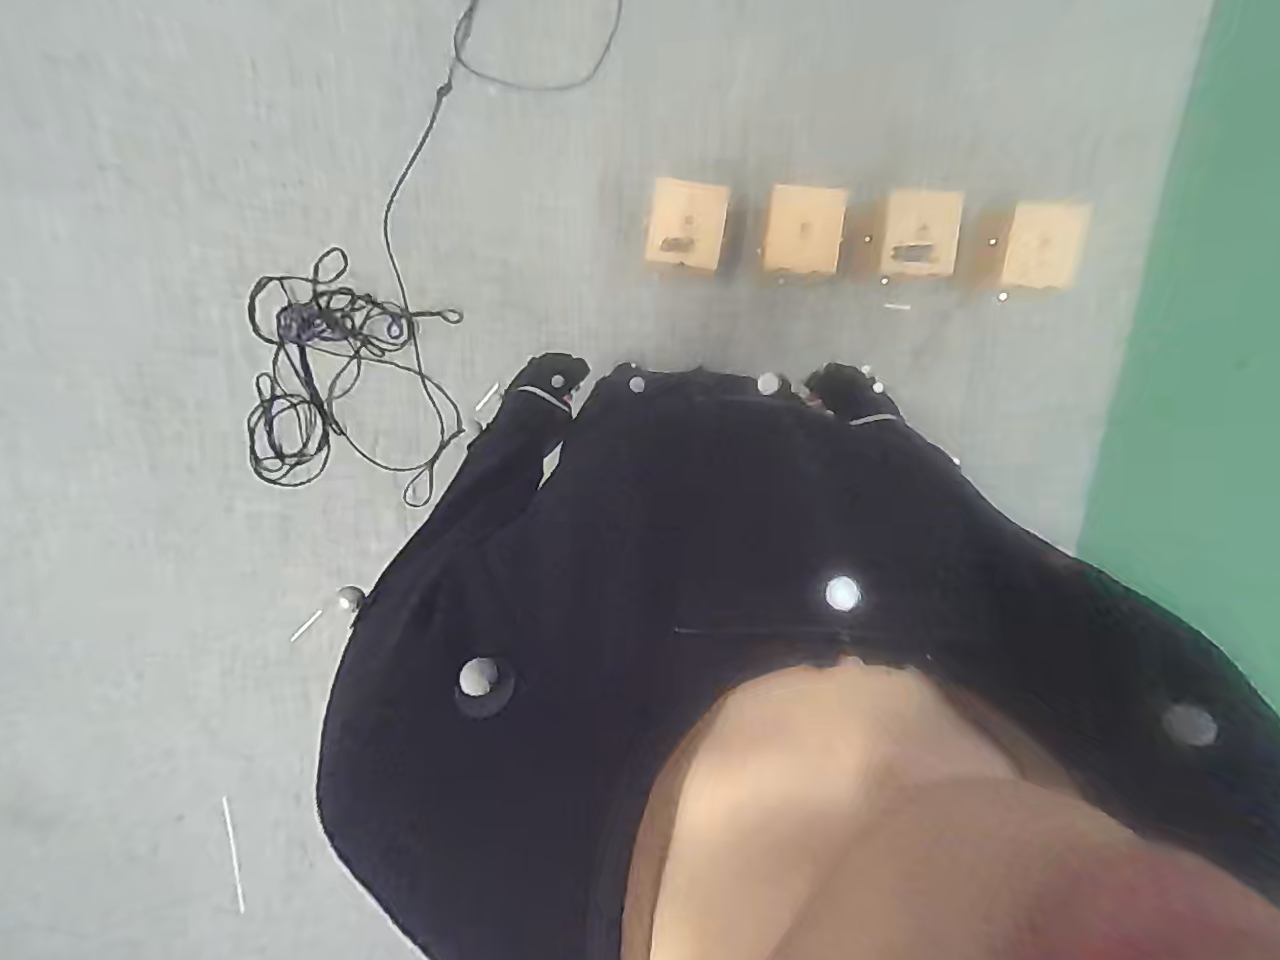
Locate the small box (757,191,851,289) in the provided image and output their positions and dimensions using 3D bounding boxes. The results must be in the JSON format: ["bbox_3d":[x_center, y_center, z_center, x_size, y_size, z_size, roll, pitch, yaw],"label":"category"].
[{"bbox_3d":[0.381,-0.564,1.287,0.168,0.176,0.179,5,102,1],"label":"small box"}]

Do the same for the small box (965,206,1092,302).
[{"bbox_3d":[0.909,-0.528,1.284,0.168,0.176,0.179,5,103,1],"label":"small box"}]

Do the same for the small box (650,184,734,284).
[{"bbox_3d":[0.119,-0.576,1.290,0.168,0.176,0.179,9,102,0],"label":"small box"}]
